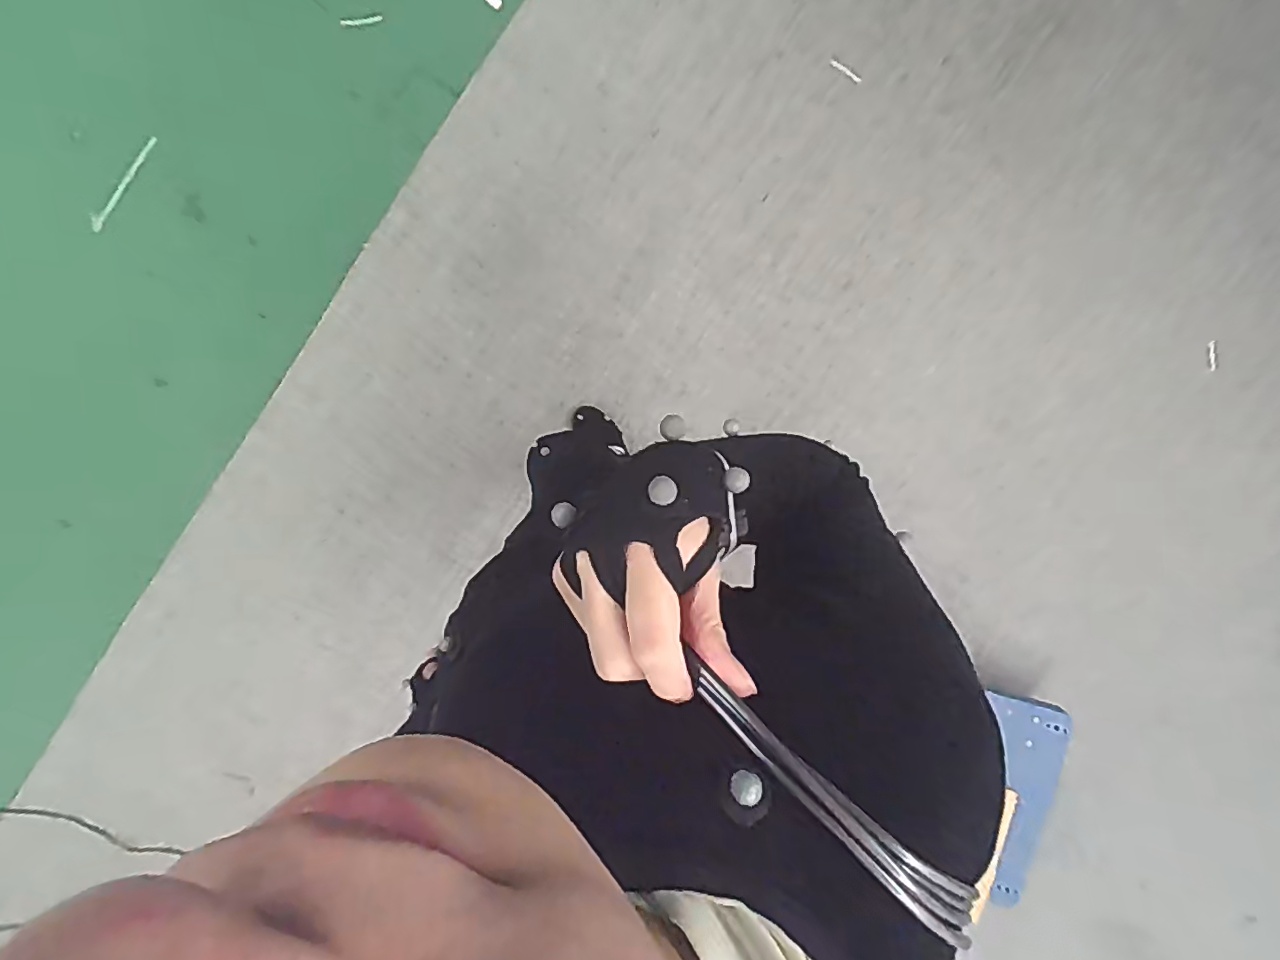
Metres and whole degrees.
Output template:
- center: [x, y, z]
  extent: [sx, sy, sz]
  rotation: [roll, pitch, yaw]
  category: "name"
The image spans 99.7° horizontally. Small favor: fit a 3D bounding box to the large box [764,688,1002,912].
- center: [0.574, 0.769, 1.351]
  extent: [0.408, 0.320, 0.320]
  rotation: [17, 91, -3]
  category: "large box"
